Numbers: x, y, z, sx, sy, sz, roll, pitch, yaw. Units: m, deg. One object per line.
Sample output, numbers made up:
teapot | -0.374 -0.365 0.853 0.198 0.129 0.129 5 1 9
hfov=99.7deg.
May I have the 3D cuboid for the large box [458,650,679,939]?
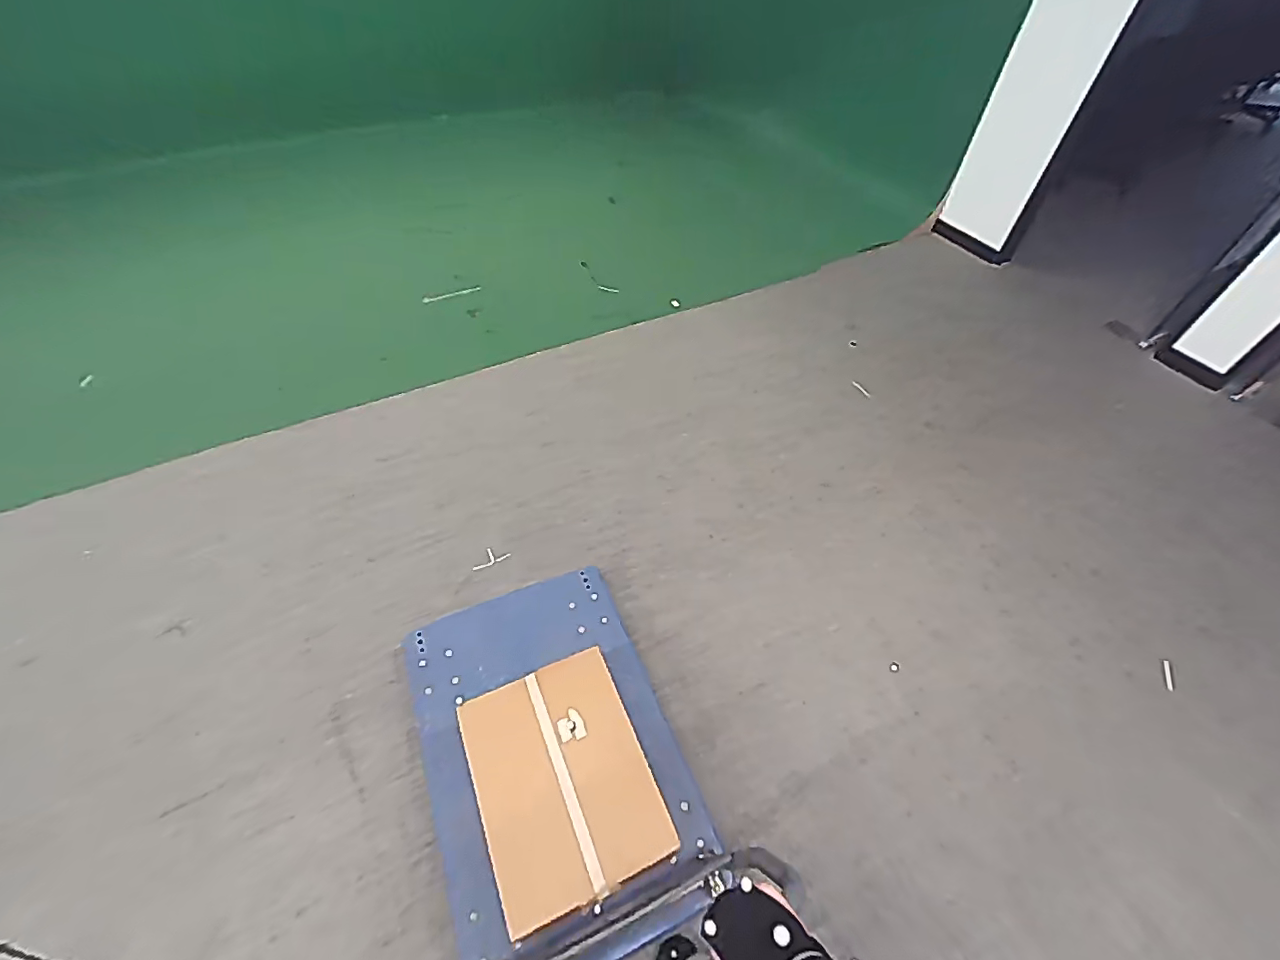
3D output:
large box | -0.148 0.649 1.138 0.320 0.320 0.408 -19 53 -16
